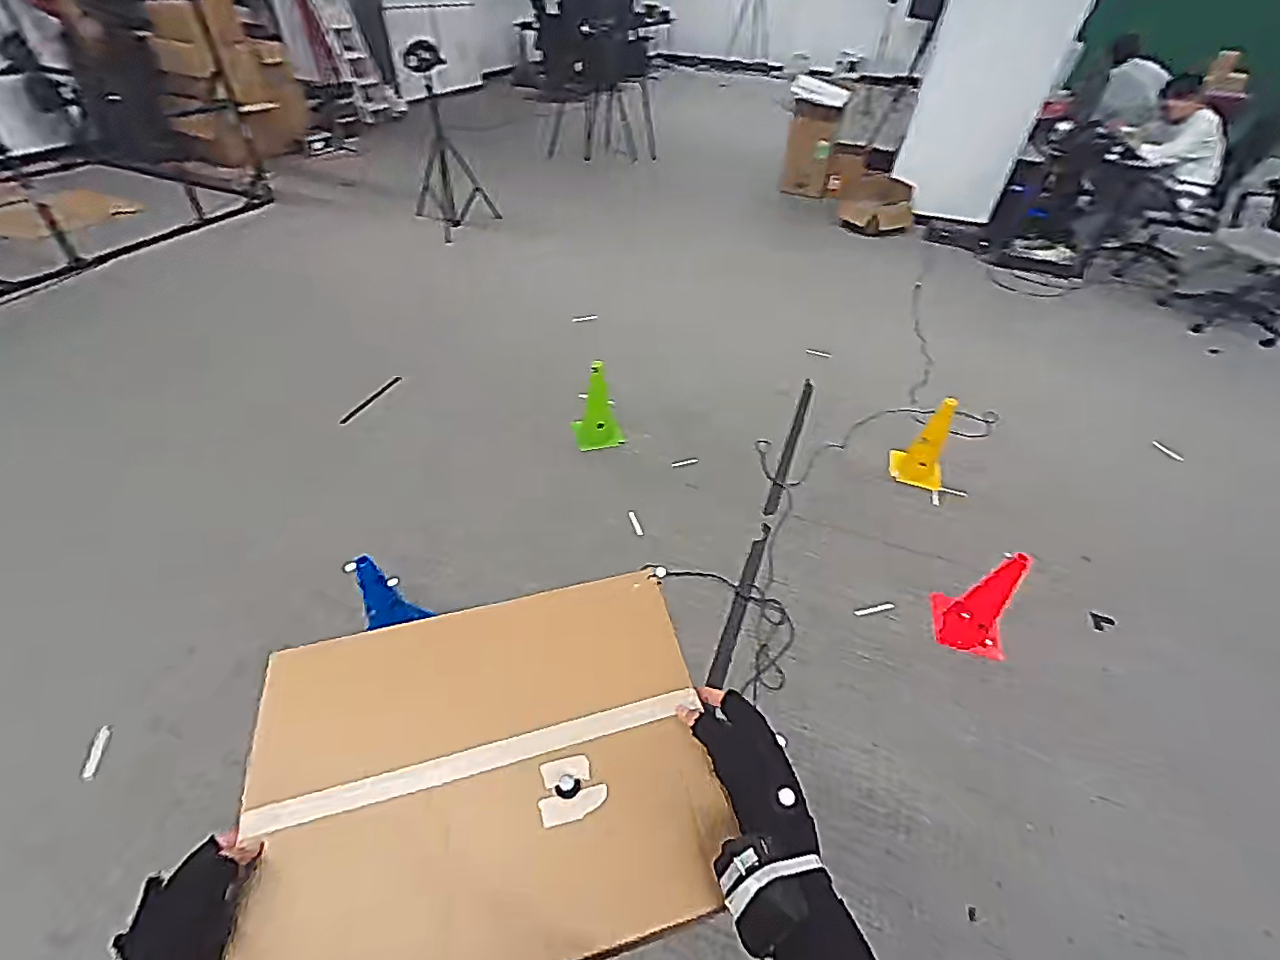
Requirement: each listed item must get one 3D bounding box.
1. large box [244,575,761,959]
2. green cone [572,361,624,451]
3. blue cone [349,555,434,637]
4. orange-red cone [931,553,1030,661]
[{"bbox_3d":[-0.133,0.354,0.610,0.408,0.320,0.320,-9,49,-11],"label":"large box"},{"bbox_3d":[-0.181,-0.329,2.244,0.202,0.368,0.200,-11,45,-12],"label":"green cone"},{"bbox_3d":[-0.734,0.348,1.525,0.192,0.380,0.193,18,45,17],"label":"blue cone"},{"bbox_3d":[1.053,0.345,1.622,0.198,0.360,0.199,16,44,11],"label":"orange-red cone"}]
